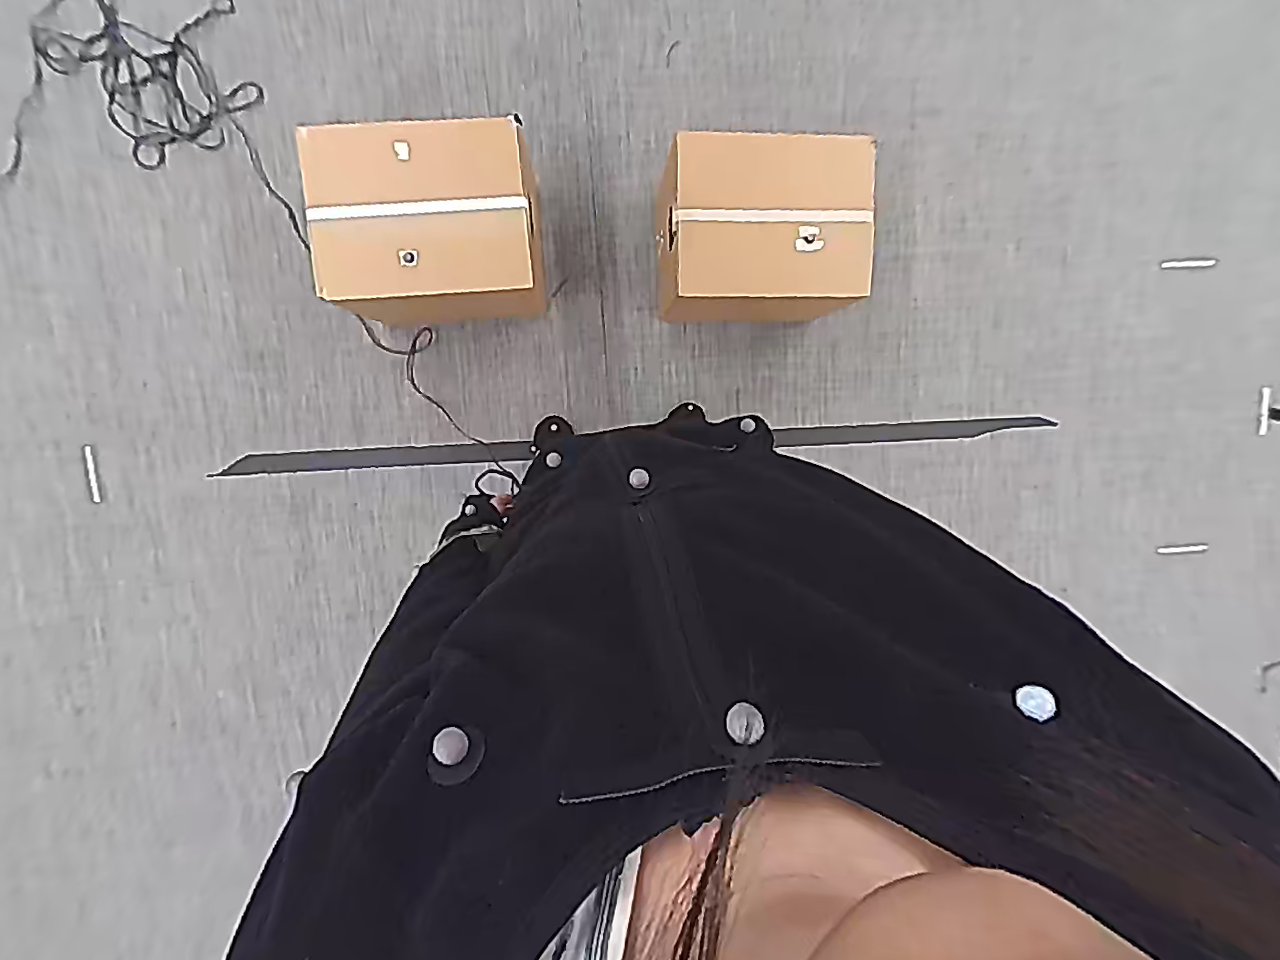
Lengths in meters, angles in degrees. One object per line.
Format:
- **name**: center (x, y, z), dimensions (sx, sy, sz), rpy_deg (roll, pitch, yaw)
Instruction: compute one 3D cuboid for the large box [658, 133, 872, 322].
- **large box**: center (0.260, -0.548, 1.237), dimensions (0.408, 0.320, 0.320), rpy_deg (-1, 97, -5)
